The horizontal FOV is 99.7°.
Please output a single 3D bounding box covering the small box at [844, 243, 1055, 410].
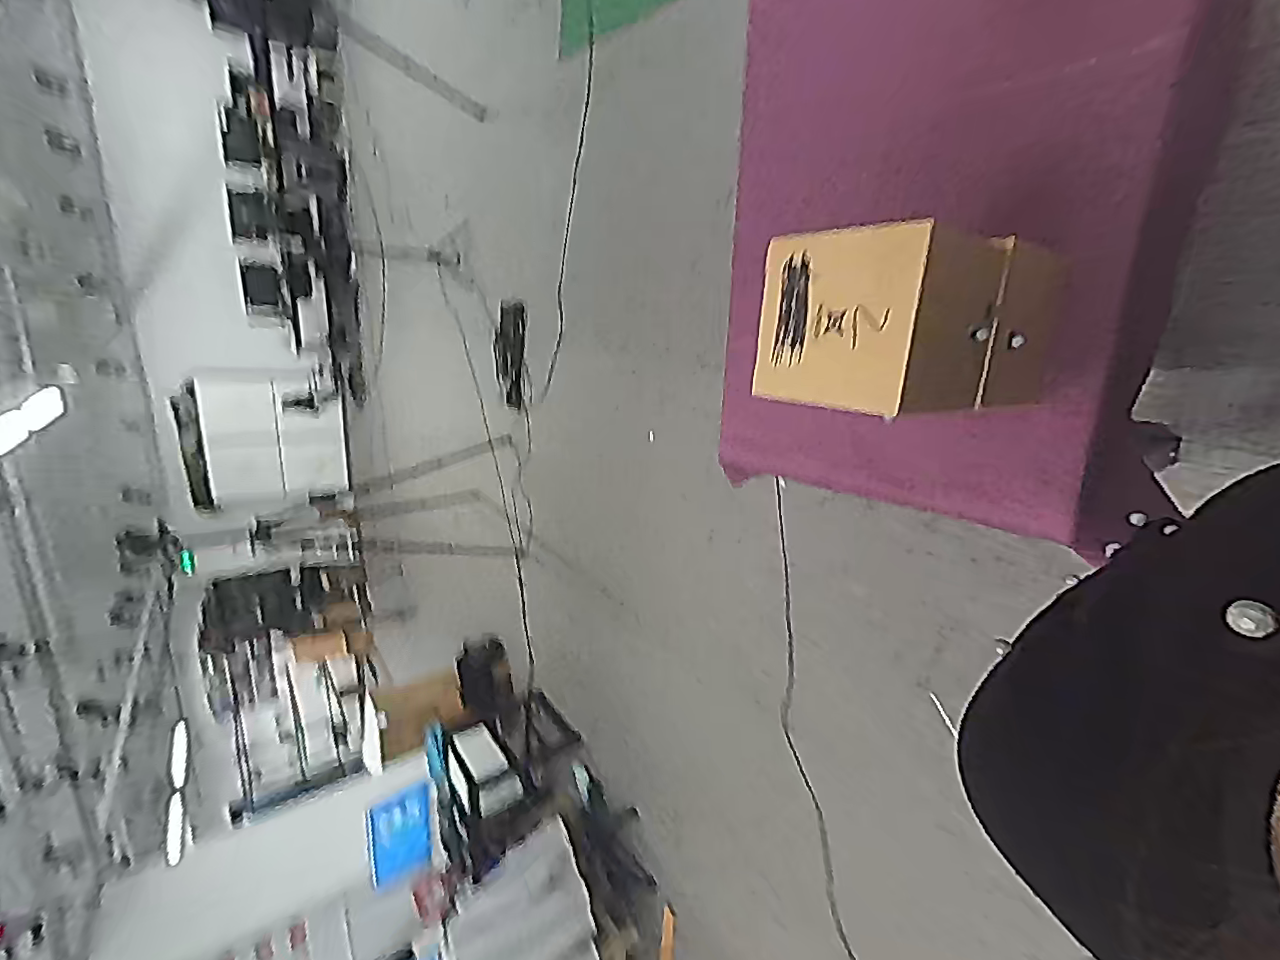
[{"bbox_3d":[0.388,-0.187,0.682,0.168,0.176,0.179,20,112,50],"label":"small box"}]
